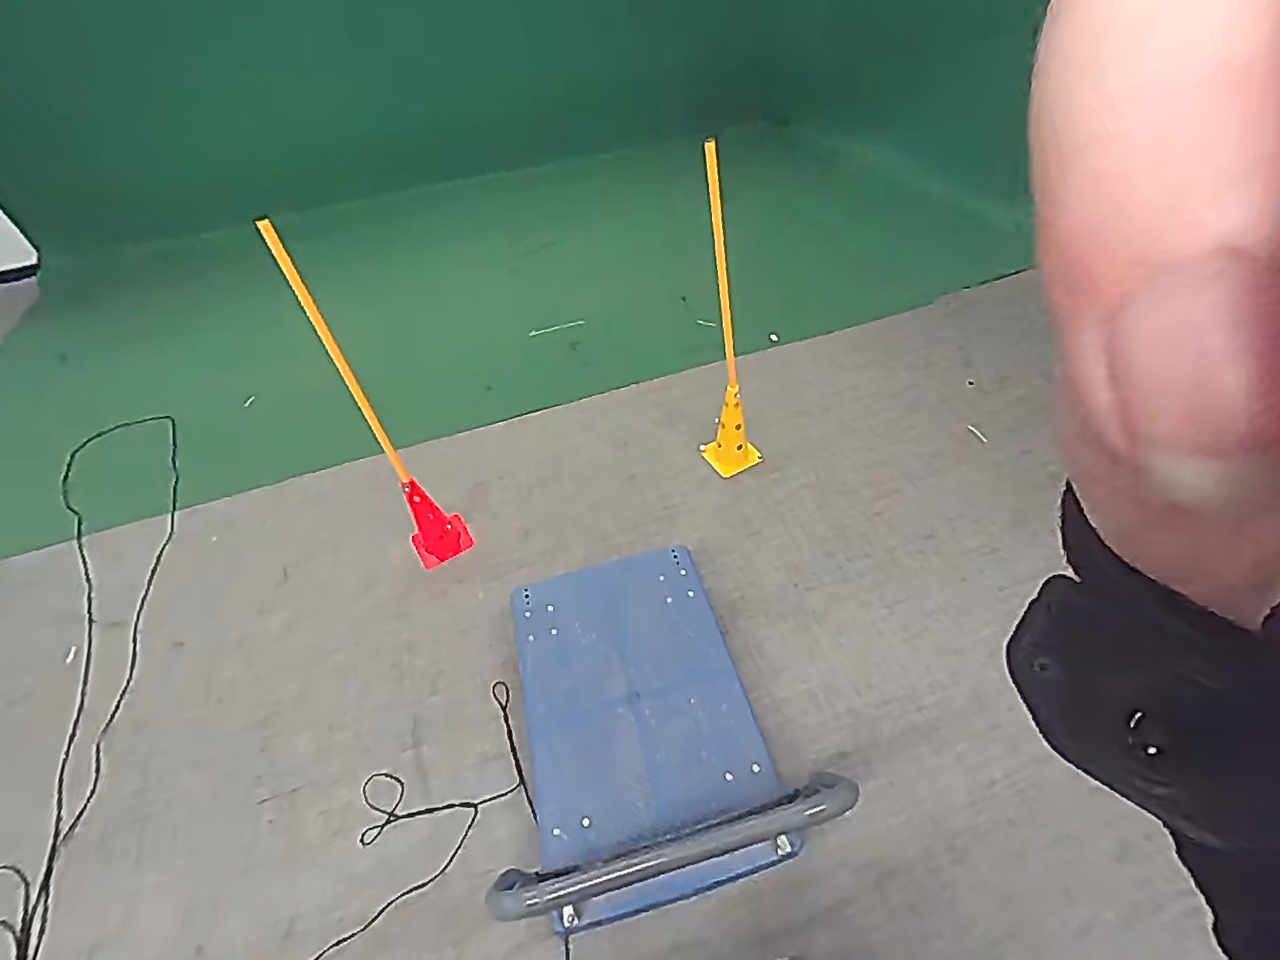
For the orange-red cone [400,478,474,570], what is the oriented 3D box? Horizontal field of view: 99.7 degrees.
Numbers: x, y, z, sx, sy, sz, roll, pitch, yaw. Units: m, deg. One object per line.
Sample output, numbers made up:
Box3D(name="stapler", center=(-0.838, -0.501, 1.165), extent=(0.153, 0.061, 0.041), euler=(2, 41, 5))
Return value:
Box3D(name="orange-red cone", center=(-0.767, 0.125, 1.929), extent=(0.199, 0.360, 0.198), euler=(-29, 51, -17))
